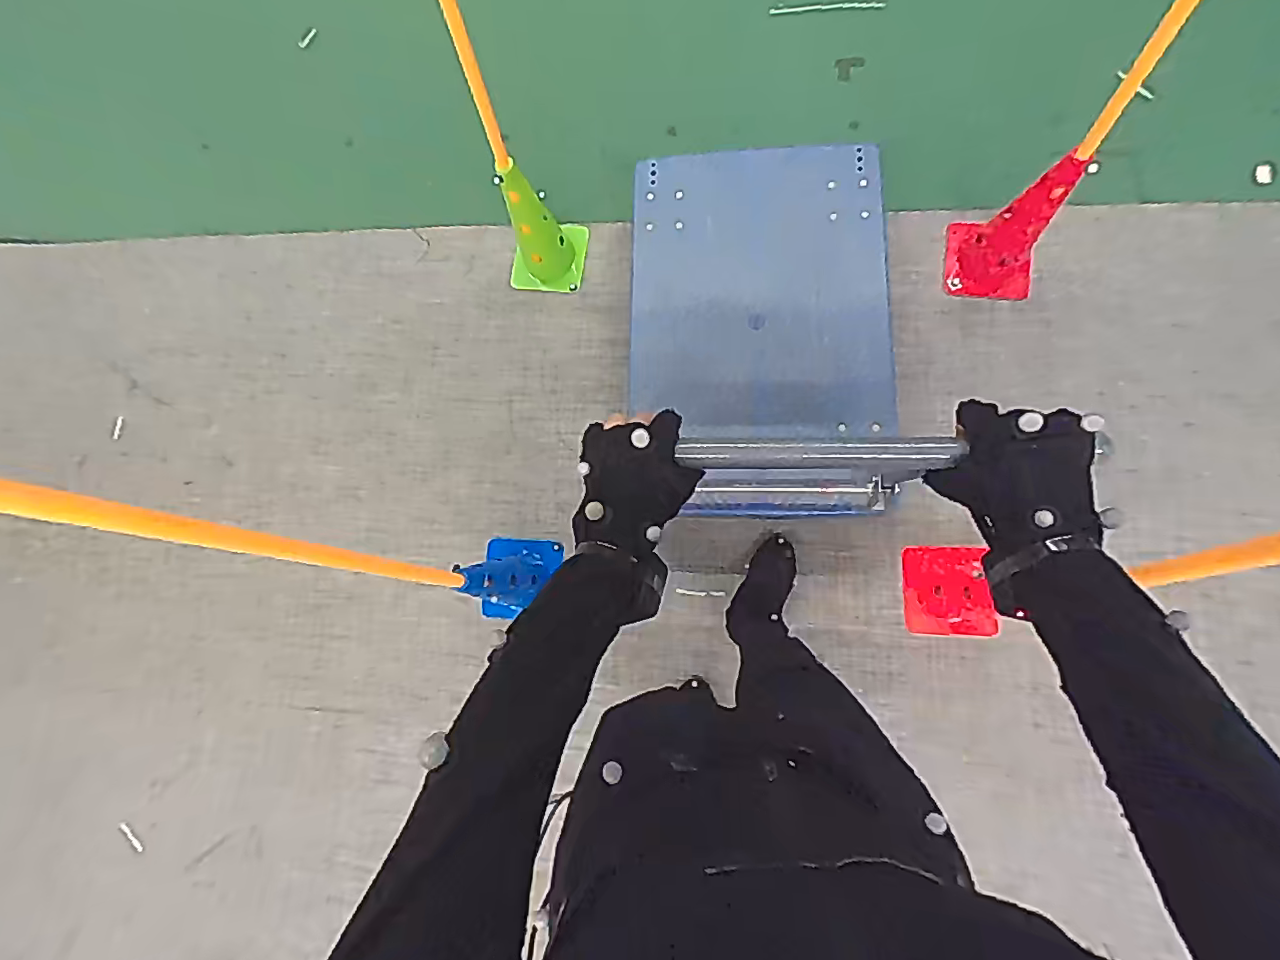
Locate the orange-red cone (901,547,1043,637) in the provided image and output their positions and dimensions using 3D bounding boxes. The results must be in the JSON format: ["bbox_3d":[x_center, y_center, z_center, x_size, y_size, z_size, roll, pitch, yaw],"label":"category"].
[{"bbox_3d":[0.681,0.227,1.080,0.199,0.360,0.198,1,80,9],"label":"orange-red cone"}]

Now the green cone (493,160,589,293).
[{"bbox_3d":[-0.271,-0.648,1.343,0.202,0.368,0.200,6,80,9],"label":"green cone"}]
